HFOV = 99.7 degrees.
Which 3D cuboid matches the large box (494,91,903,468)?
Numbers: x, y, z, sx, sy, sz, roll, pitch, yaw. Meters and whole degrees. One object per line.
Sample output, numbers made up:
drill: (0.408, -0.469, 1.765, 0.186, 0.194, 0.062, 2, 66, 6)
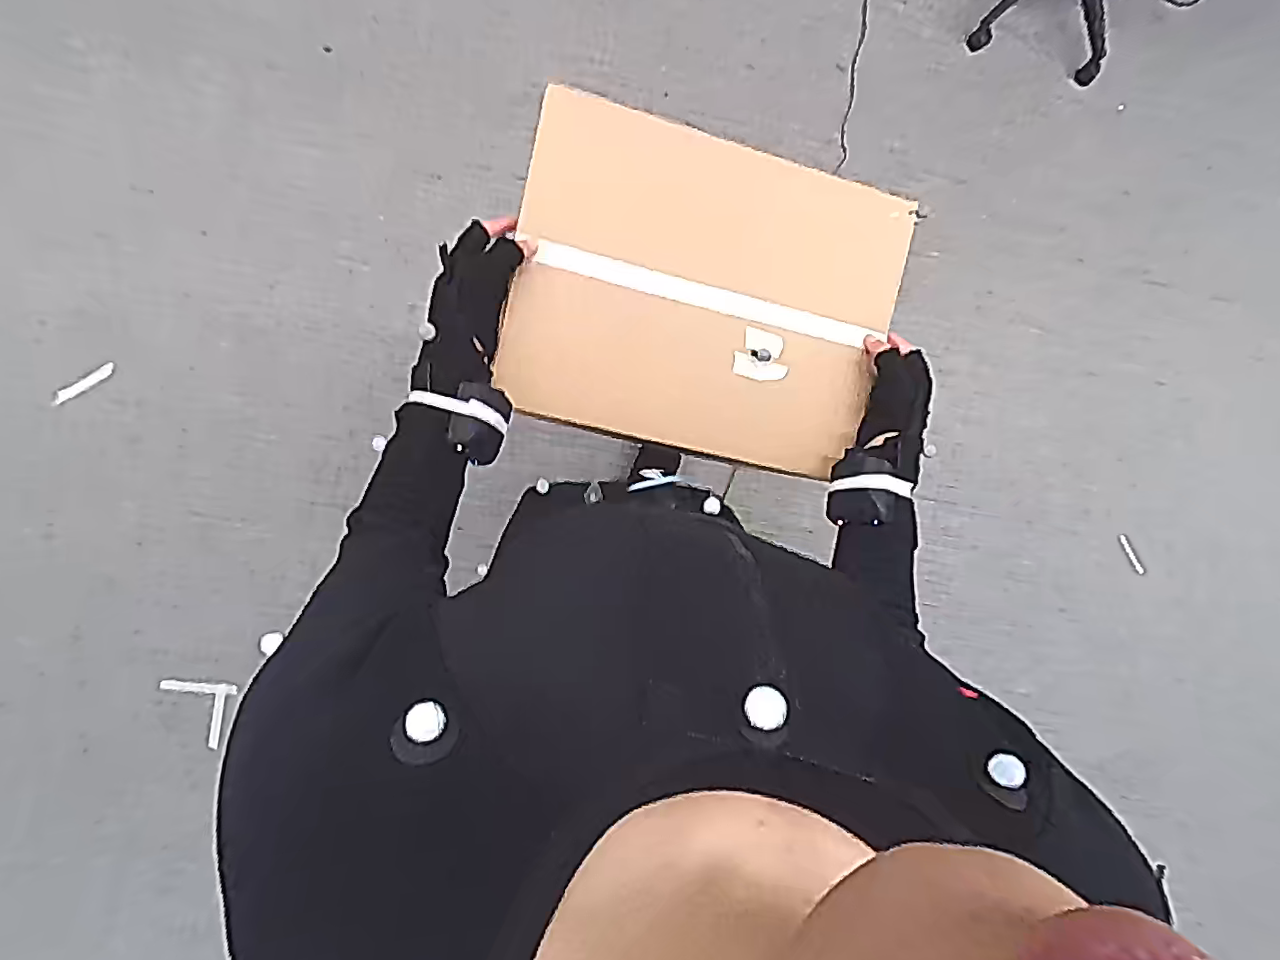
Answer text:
large box: (0.047, -0.214, 0.721, 0.408, 0.320, 0.320, 12, 95, -10)
